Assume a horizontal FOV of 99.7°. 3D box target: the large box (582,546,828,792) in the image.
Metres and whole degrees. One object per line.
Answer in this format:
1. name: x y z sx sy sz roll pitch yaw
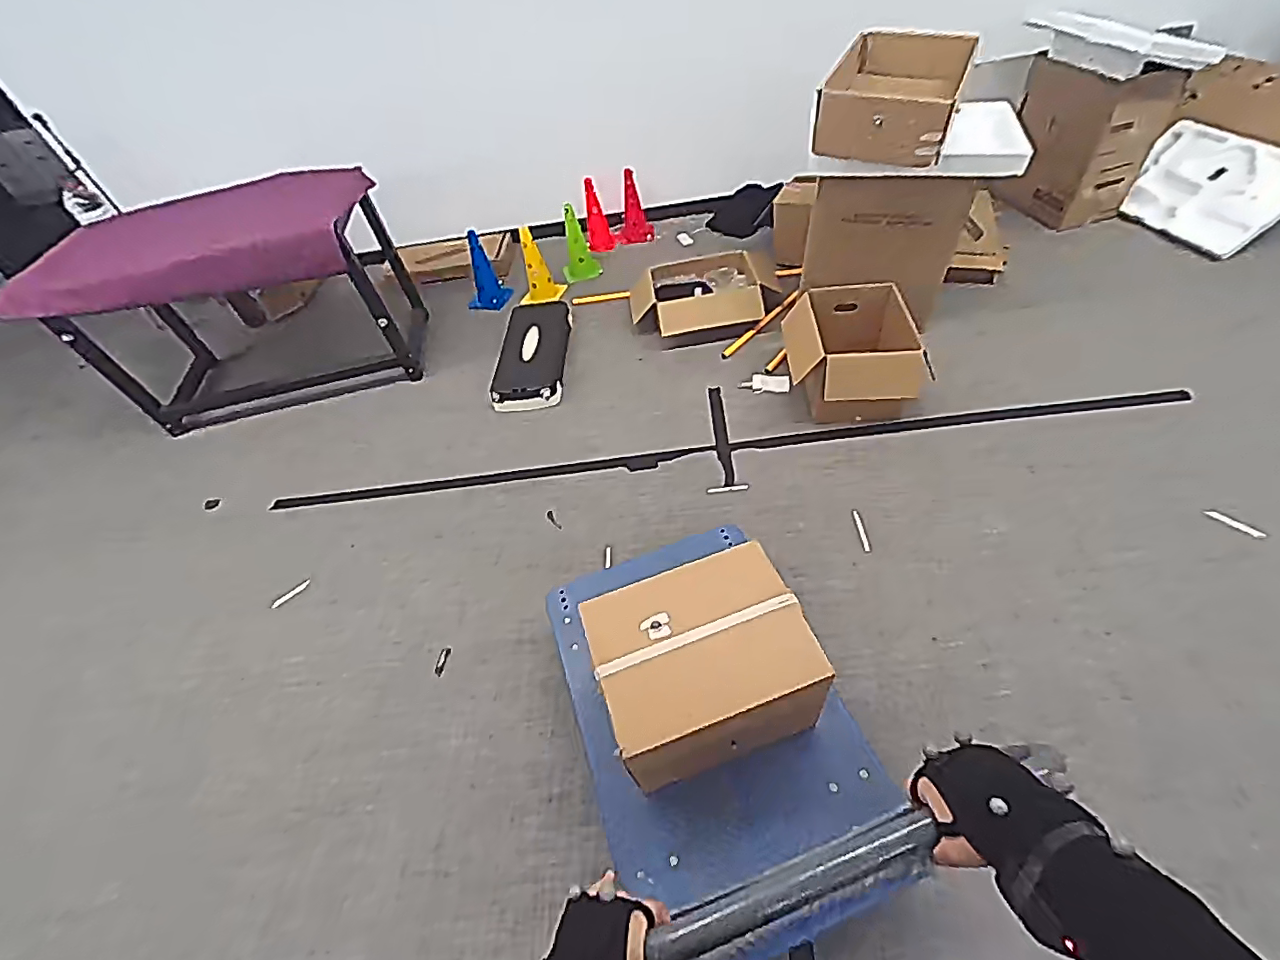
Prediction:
1. large box: 0.133 0.408 1.166 0.408 0.320 0.320 -20 49 -6
